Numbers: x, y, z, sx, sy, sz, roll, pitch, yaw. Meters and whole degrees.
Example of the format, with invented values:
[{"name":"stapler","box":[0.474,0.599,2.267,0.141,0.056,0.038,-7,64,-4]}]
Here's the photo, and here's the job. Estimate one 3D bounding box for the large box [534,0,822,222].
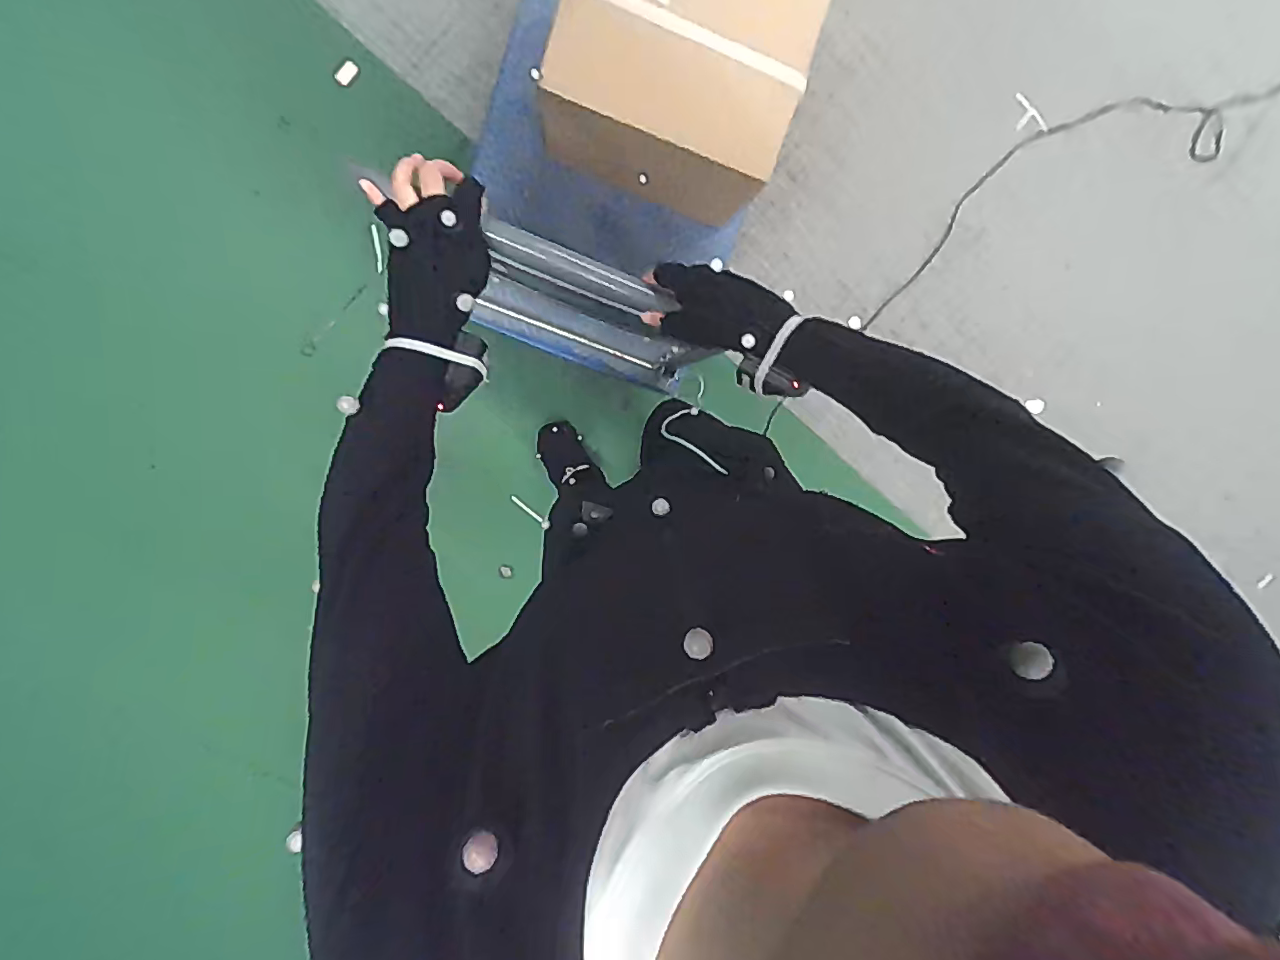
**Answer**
[{"name":"large box","box":[0.053,-0.733,1.001,0.408,0.320,0.320,18,98,-9]}]
